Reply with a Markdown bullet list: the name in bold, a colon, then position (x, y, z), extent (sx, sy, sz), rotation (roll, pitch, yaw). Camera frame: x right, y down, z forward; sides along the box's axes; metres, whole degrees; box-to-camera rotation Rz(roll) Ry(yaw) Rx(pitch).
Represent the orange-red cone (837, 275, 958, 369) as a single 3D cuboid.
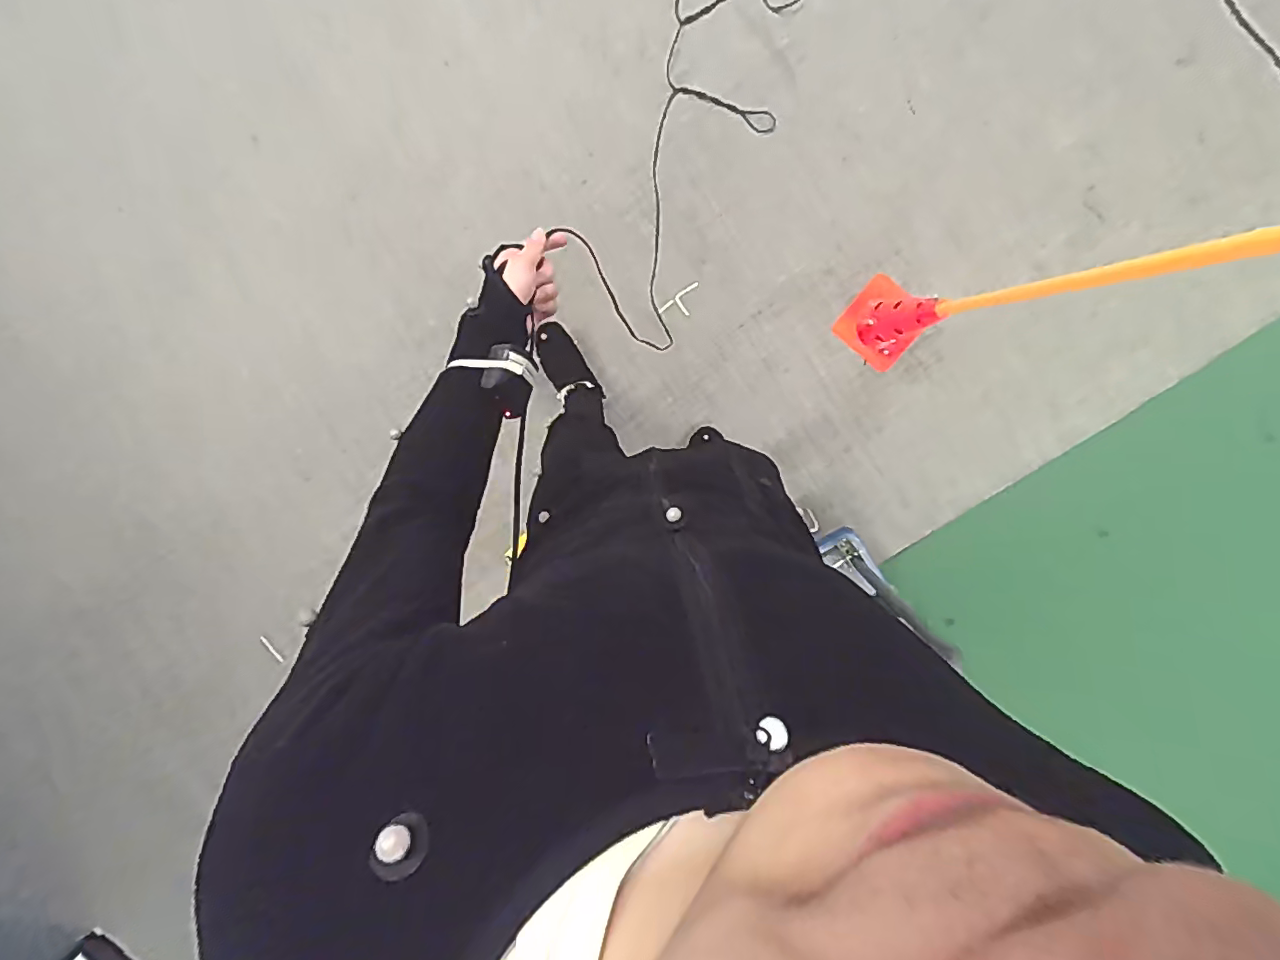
- **orange-red cone**: position (0.660, -0.399, 1.312), extent (0.198, 0.360, 0.199), rotation (39, 99, -5)
